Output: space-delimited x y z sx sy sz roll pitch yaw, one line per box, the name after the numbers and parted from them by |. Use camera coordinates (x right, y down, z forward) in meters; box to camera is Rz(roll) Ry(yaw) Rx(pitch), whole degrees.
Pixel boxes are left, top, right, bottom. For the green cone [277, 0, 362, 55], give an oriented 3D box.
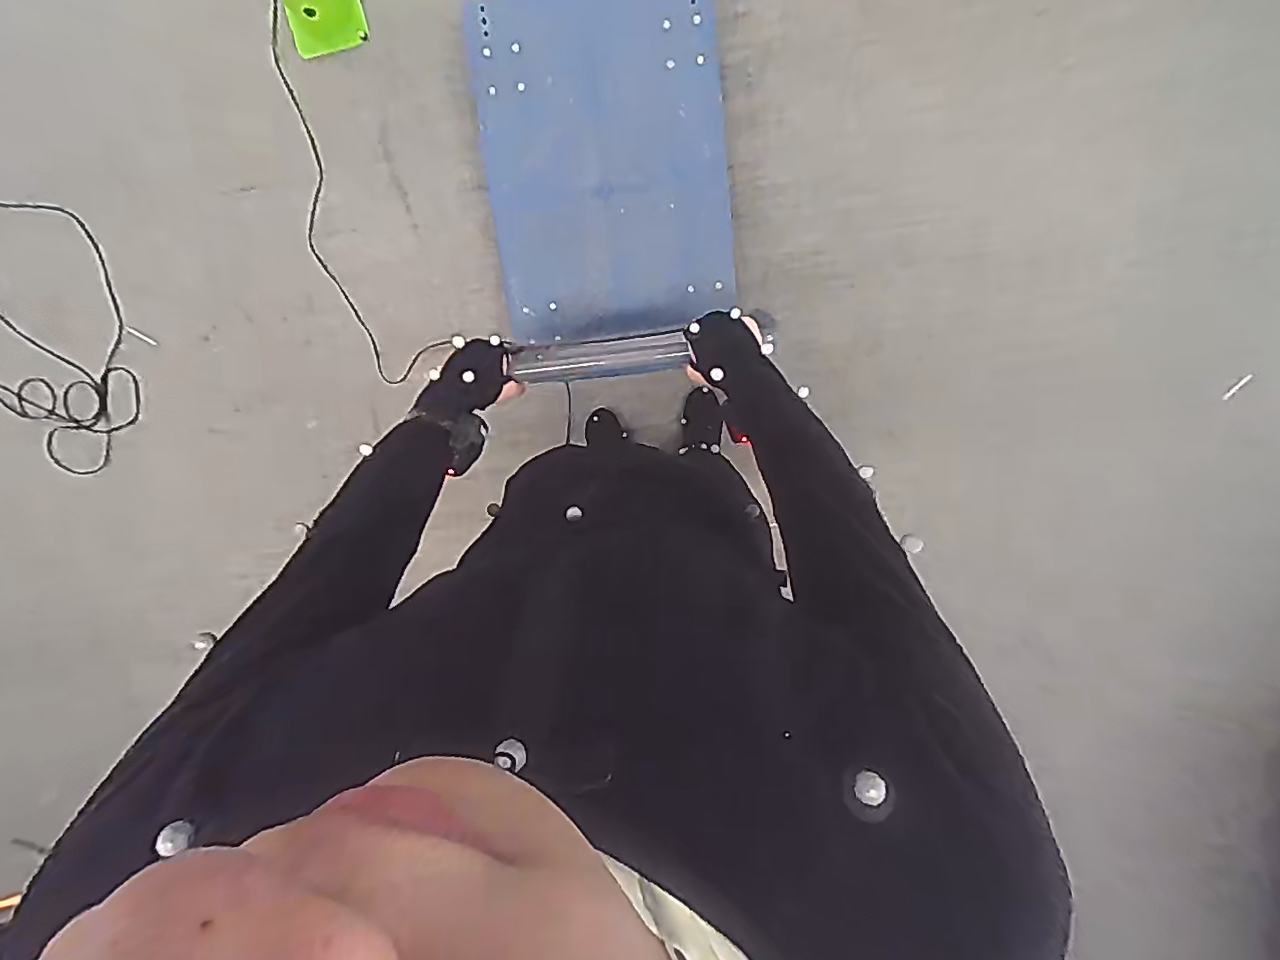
-0.837 -1.180 1.212 0.202 0.368 0.200 -12 102 6 | green cone
